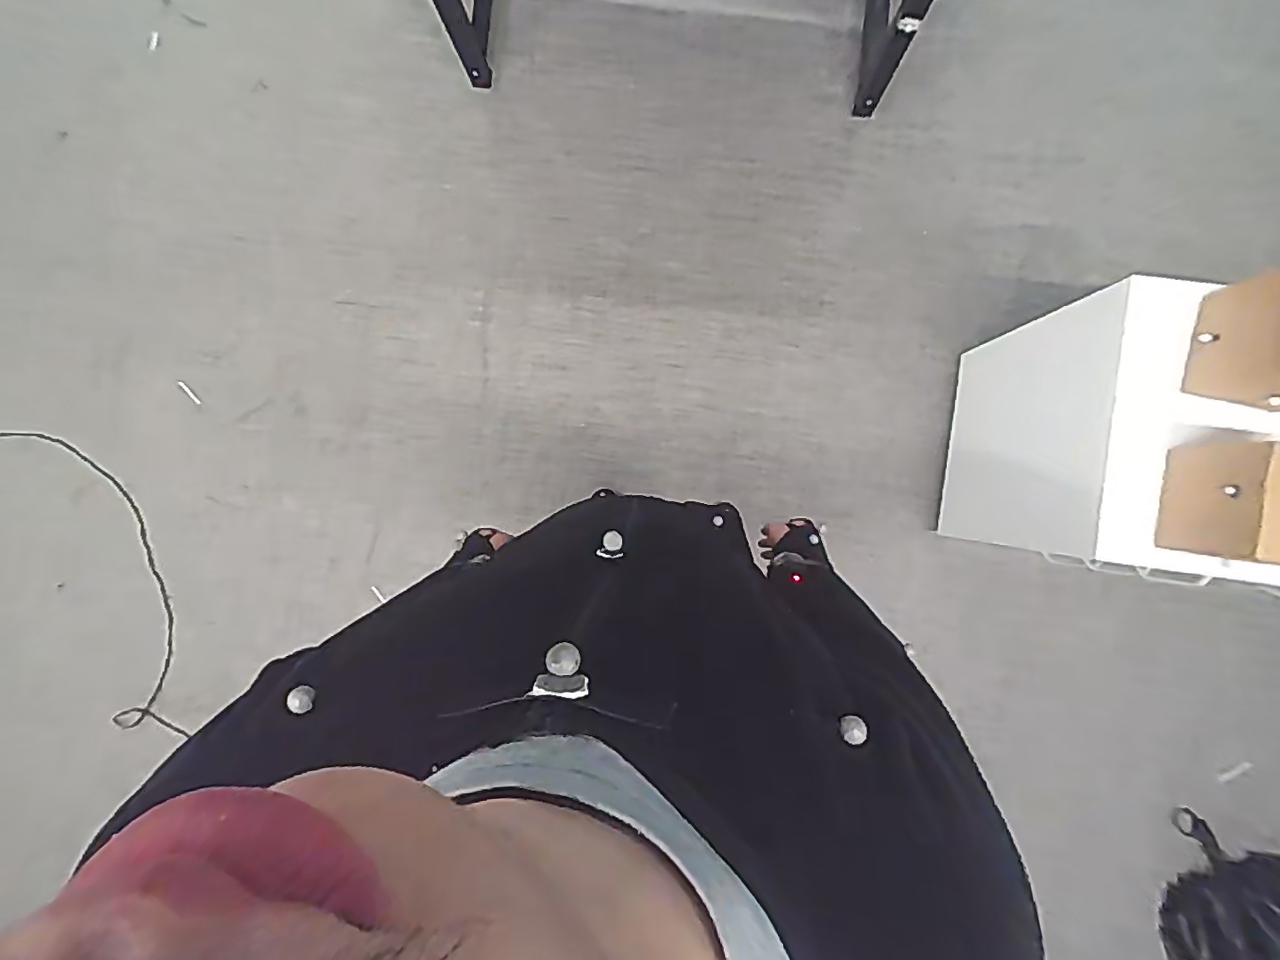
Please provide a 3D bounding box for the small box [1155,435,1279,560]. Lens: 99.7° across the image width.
[{"bbox_3d":[0.985,0.034,0.865,0.168,0.176,0.179,7,88,1],"label":"small box"}]
